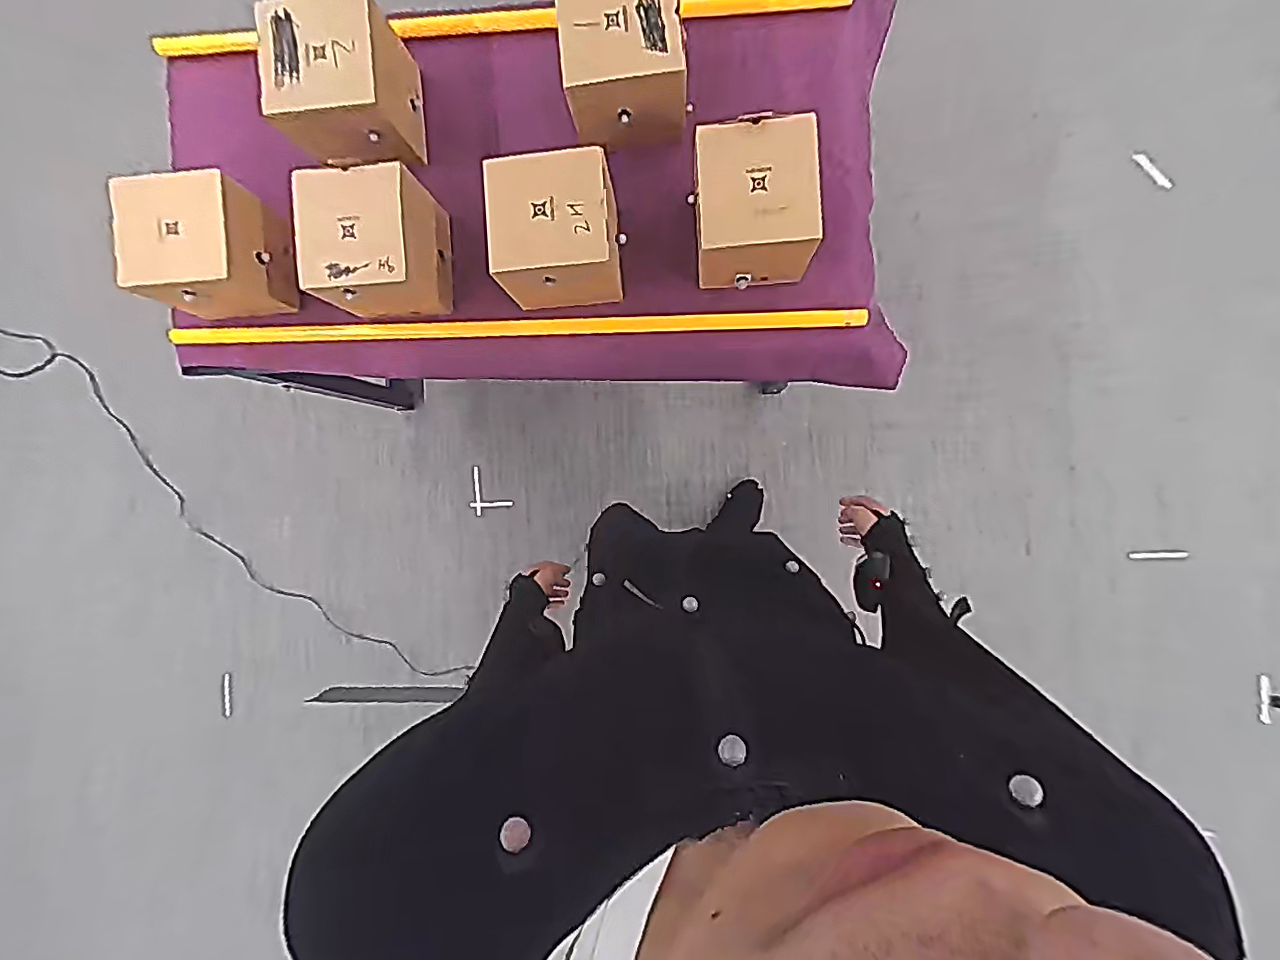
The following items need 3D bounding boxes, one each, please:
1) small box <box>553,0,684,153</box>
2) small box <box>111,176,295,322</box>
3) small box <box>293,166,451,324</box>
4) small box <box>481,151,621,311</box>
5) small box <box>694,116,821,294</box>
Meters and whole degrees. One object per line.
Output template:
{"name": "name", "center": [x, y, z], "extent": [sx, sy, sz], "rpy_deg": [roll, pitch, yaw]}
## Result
{"name": "small box", "center": [-0.026, -0.632, 0.827], "extent": [0.179, 0.176, 0.168], "rpy_deg": [-5, 91, 6]}
{"name": "small box", "center": [-0.695, -0.365, 0.883], "extent": [0.179, 0.176, 0.168], "rpy_deg": [-4, 90, 4]}
{"name": "small box", "center": [-0.416, -0.362, 0.861], "extent": [0.168, 0.176, 0.179], "rpy_deg": [-2, 90, 6]}
{"name": "small box", "center": [-0.130, -0.371, 0.837], "extent": [0.179, 0.176, 0.168], "rpy_deg": [-3, 89, 5]}
{"name": "small box", "center": [0.166, -0.400, 0.812], "extent": [0.168, 0.176, 0.179], "rpy_deg": [-3, 88, 6]}
